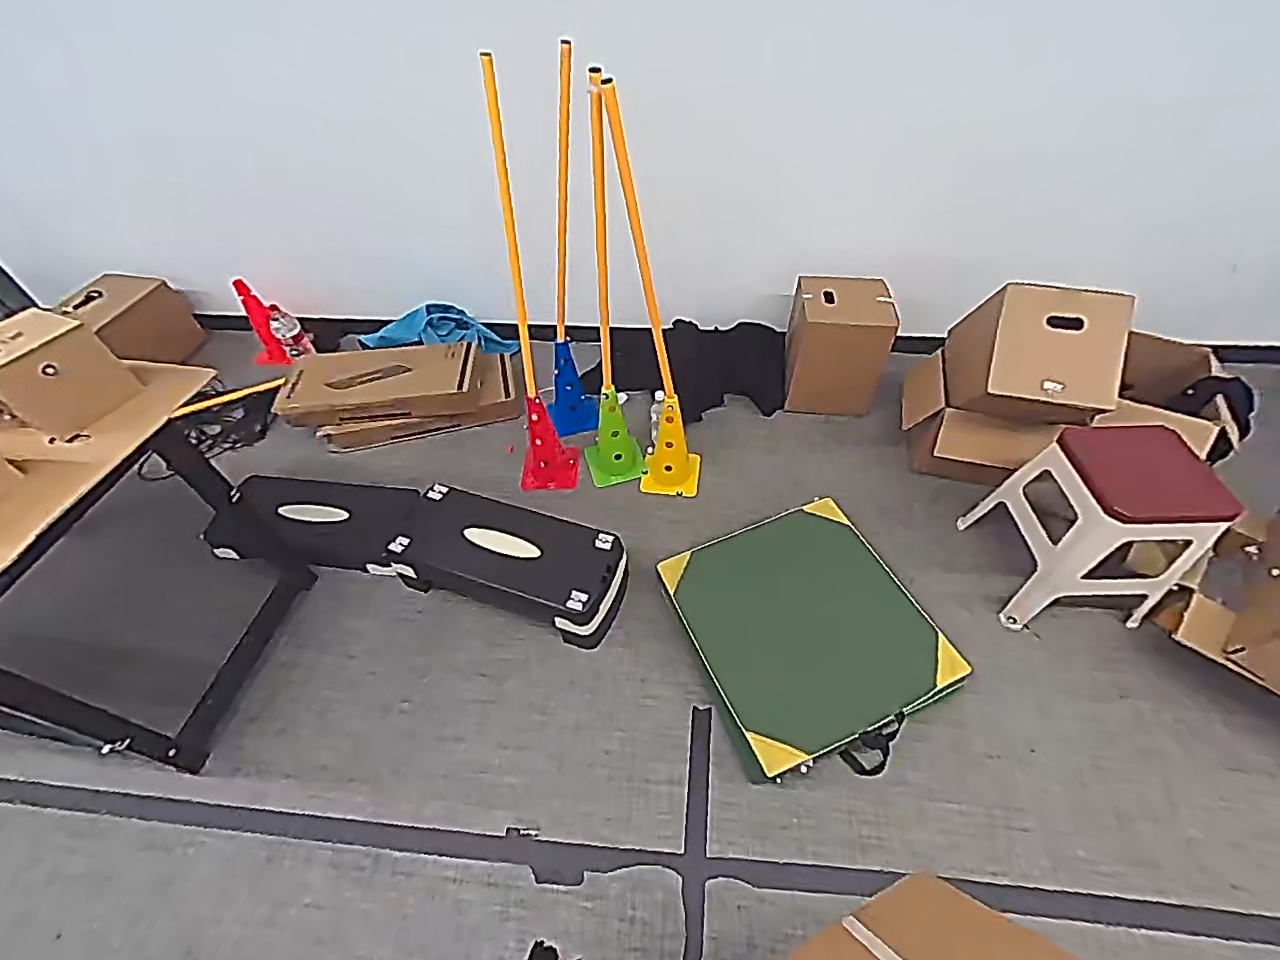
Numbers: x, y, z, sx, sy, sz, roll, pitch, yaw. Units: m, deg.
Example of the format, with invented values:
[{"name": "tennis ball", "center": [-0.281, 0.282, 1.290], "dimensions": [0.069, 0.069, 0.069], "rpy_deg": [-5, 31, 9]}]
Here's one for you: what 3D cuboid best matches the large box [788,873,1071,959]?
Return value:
[{"name": "large box", "center": [0.412, 0.759, 0.609], "dimensions": [0.320, 0.408, 0.320], "rpy_deg": [-19, 81, -17]}]
